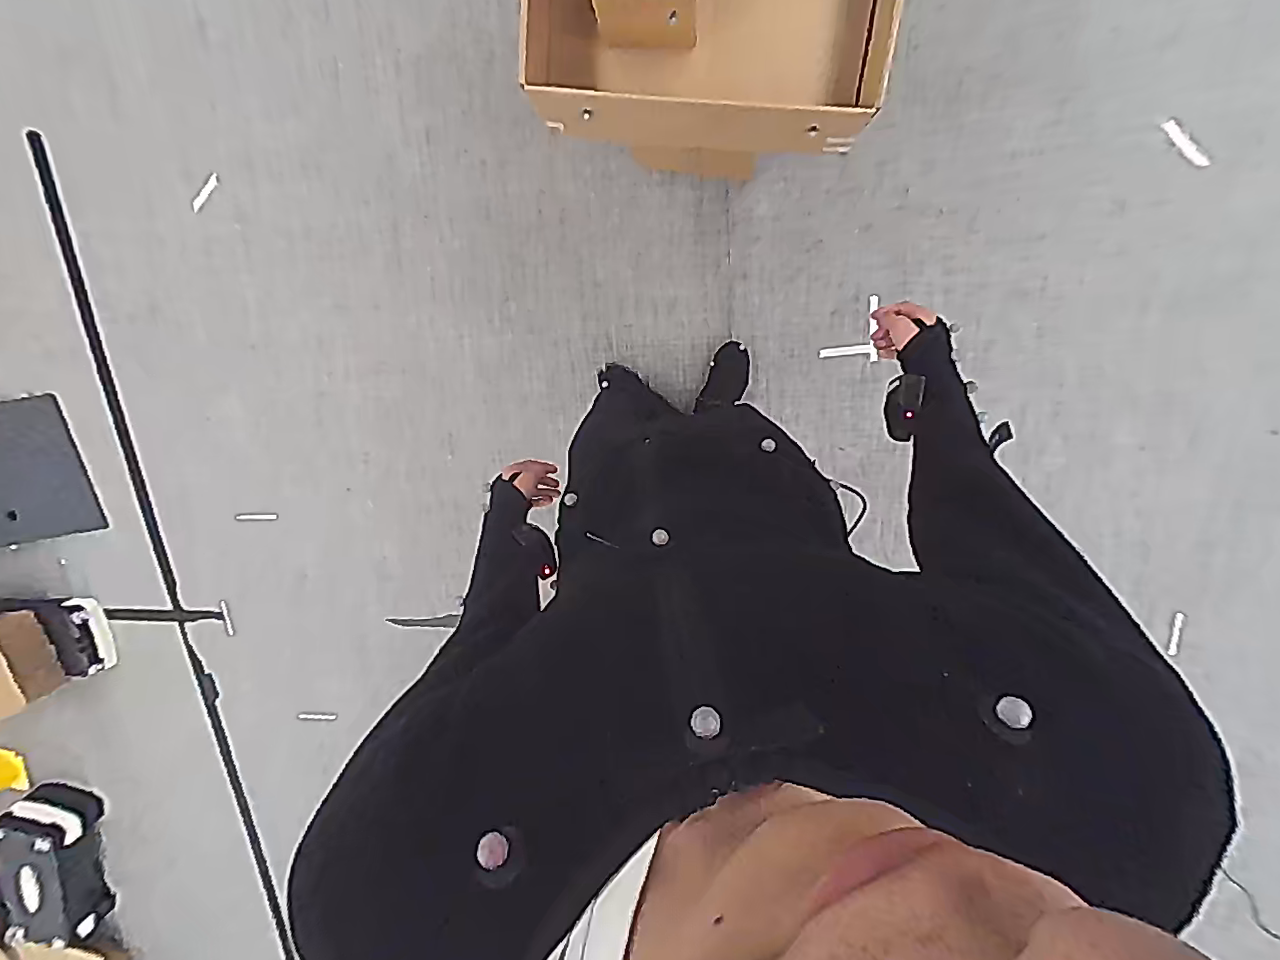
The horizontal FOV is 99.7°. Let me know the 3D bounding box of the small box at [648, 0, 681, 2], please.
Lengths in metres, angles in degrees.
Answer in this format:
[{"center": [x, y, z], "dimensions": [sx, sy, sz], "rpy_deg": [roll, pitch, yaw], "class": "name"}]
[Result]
[{"center": [-0.002, -0.826, 0.758], "dimensions": [0.168, 0.176, 0.179], "rpy_deg": [4, 104, 5], "class": "small box"}]
